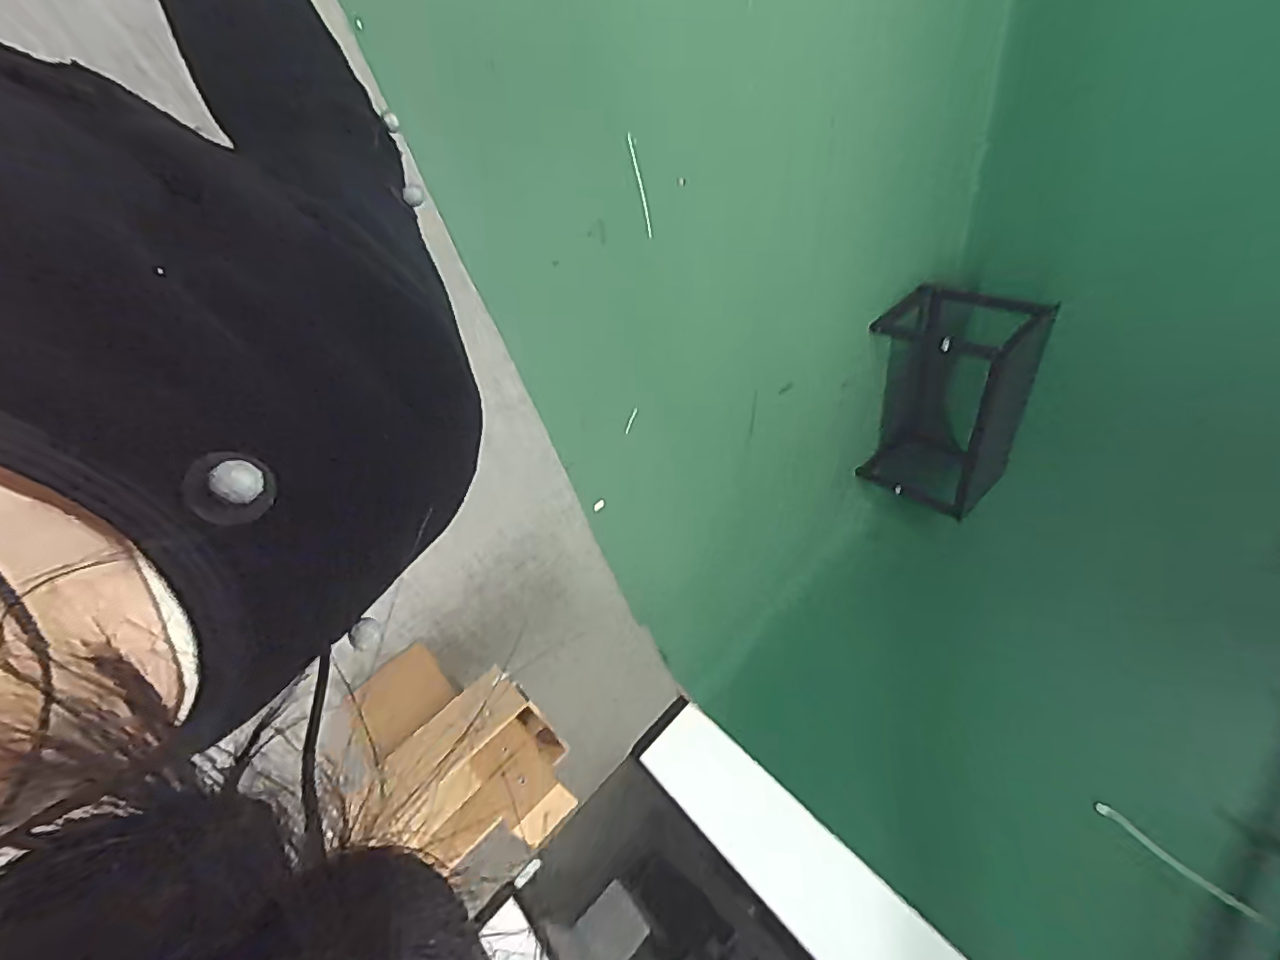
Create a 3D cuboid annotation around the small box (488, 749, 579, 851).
[{"bbox_3d":[-0.309,0.914,1.559,0.168,0.176,0.179,-39,135,-21],"label":"small box"}]
